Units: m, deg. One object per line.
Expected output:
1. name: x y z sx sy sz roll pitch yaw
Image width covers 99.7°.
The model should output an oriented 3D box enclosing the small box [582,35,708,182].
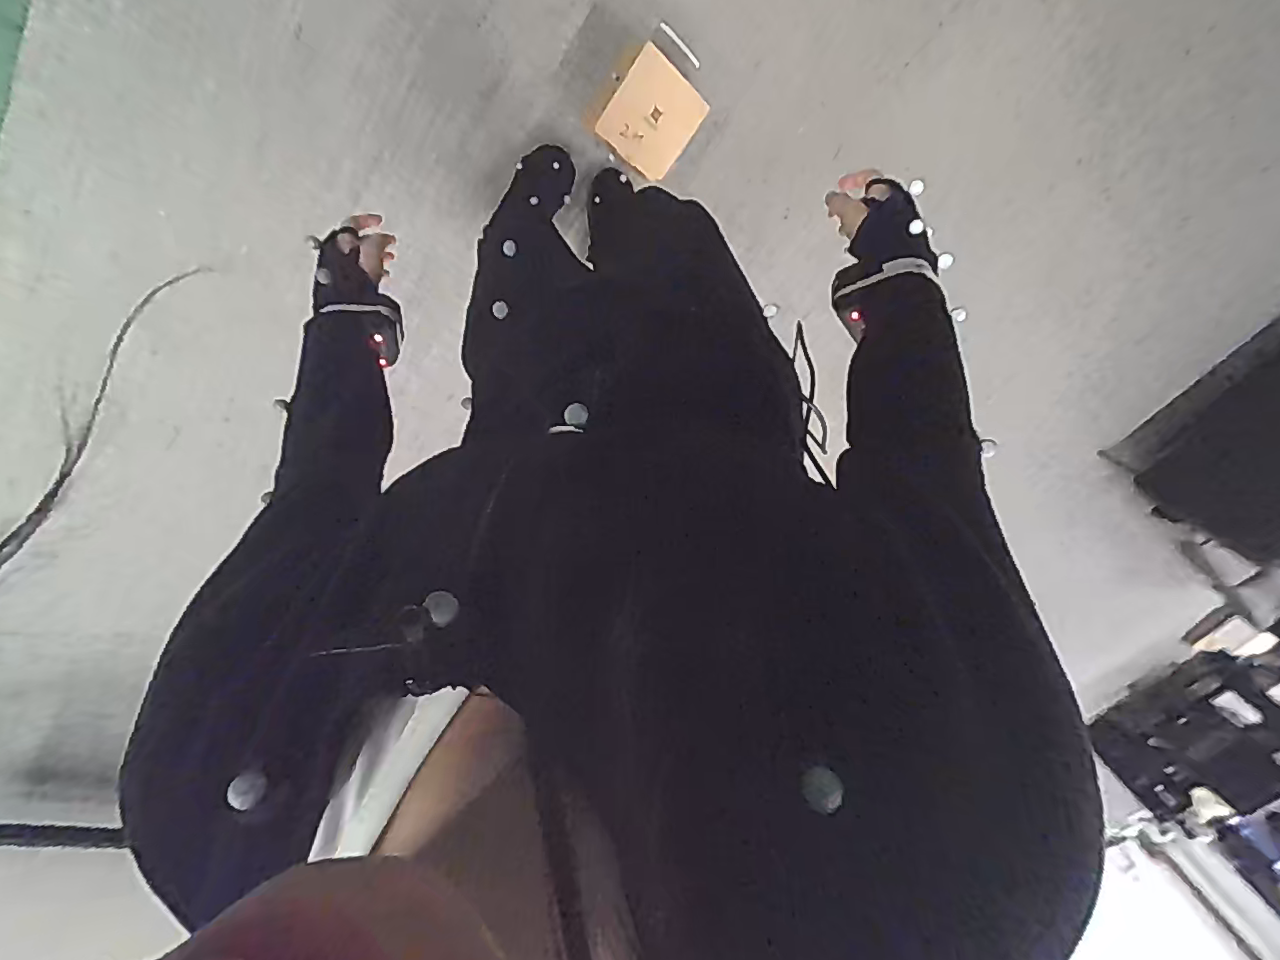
1. small box: 0.001 -0.748 1.091 0.168 0.176 0.179 28 115 -33
